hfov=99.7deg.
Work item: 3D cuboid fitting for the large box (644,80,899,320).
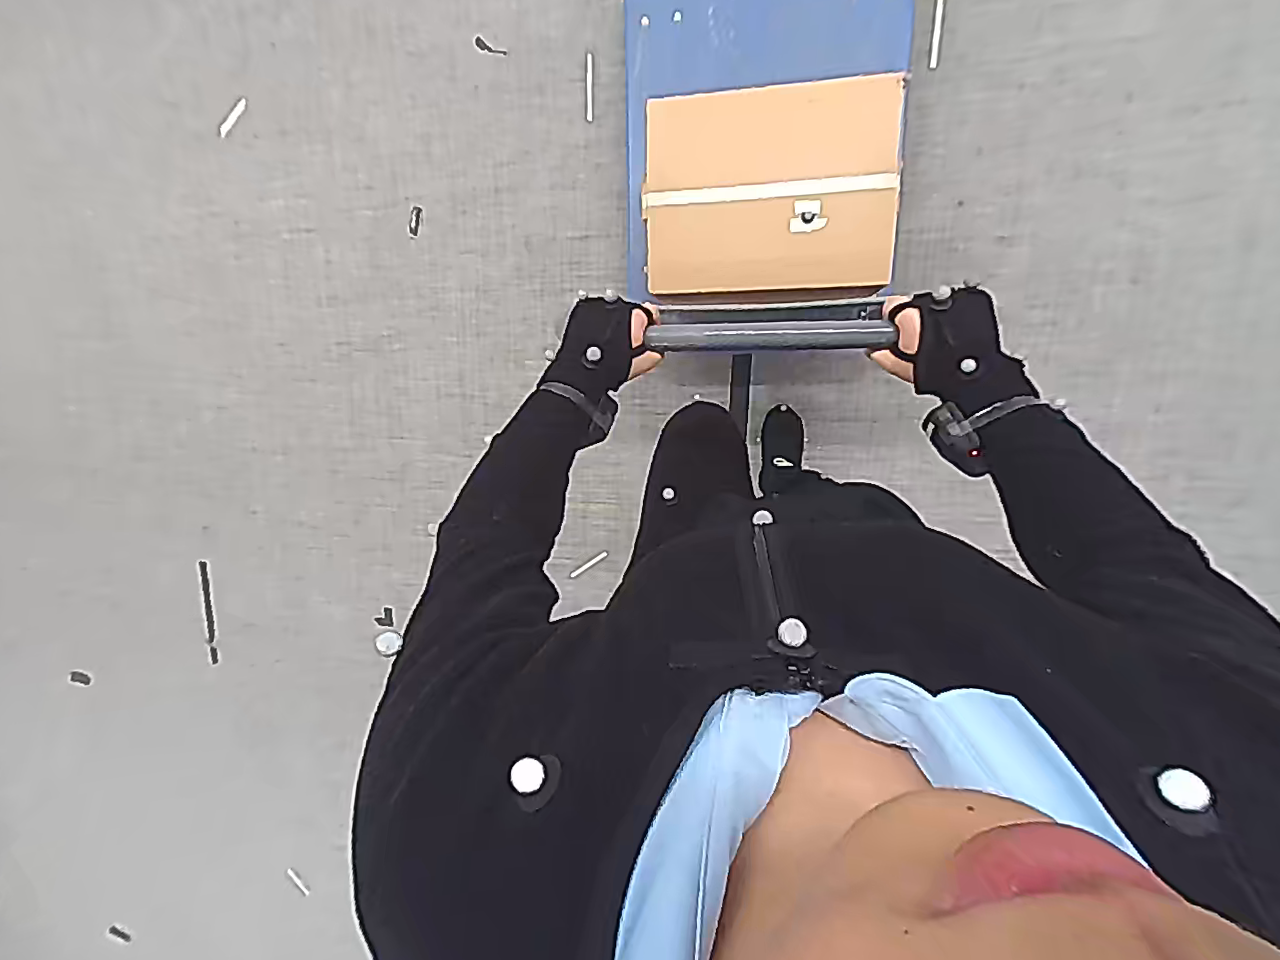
[{"bbox_3d":[0.231,-0.490,1.032,0.408,0.320,0.320,1,102,10],"label":"large box"}]
